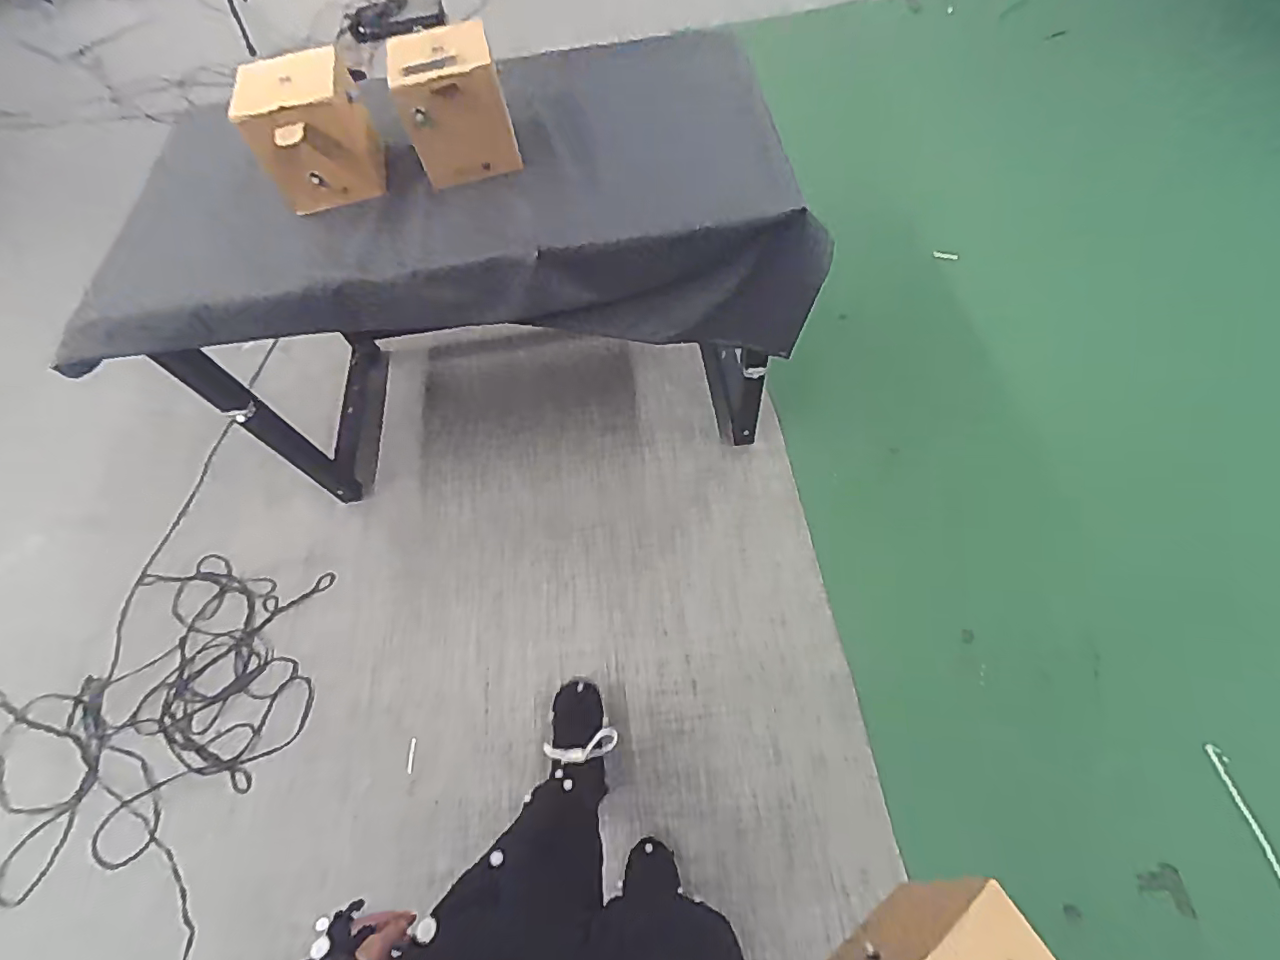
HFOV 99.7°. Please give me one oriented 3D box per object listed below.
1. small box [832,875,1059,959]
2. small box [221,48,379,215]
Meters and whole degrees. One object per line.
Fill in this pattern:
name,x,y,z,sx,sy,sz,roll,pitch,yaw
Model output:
small box,0.319,0.543,0.546,0.179,0.176,0.168,-20,61,-29
small box,-0.574,-0.598,0.937,0.168,0.176,0.179,-16,62,-3
